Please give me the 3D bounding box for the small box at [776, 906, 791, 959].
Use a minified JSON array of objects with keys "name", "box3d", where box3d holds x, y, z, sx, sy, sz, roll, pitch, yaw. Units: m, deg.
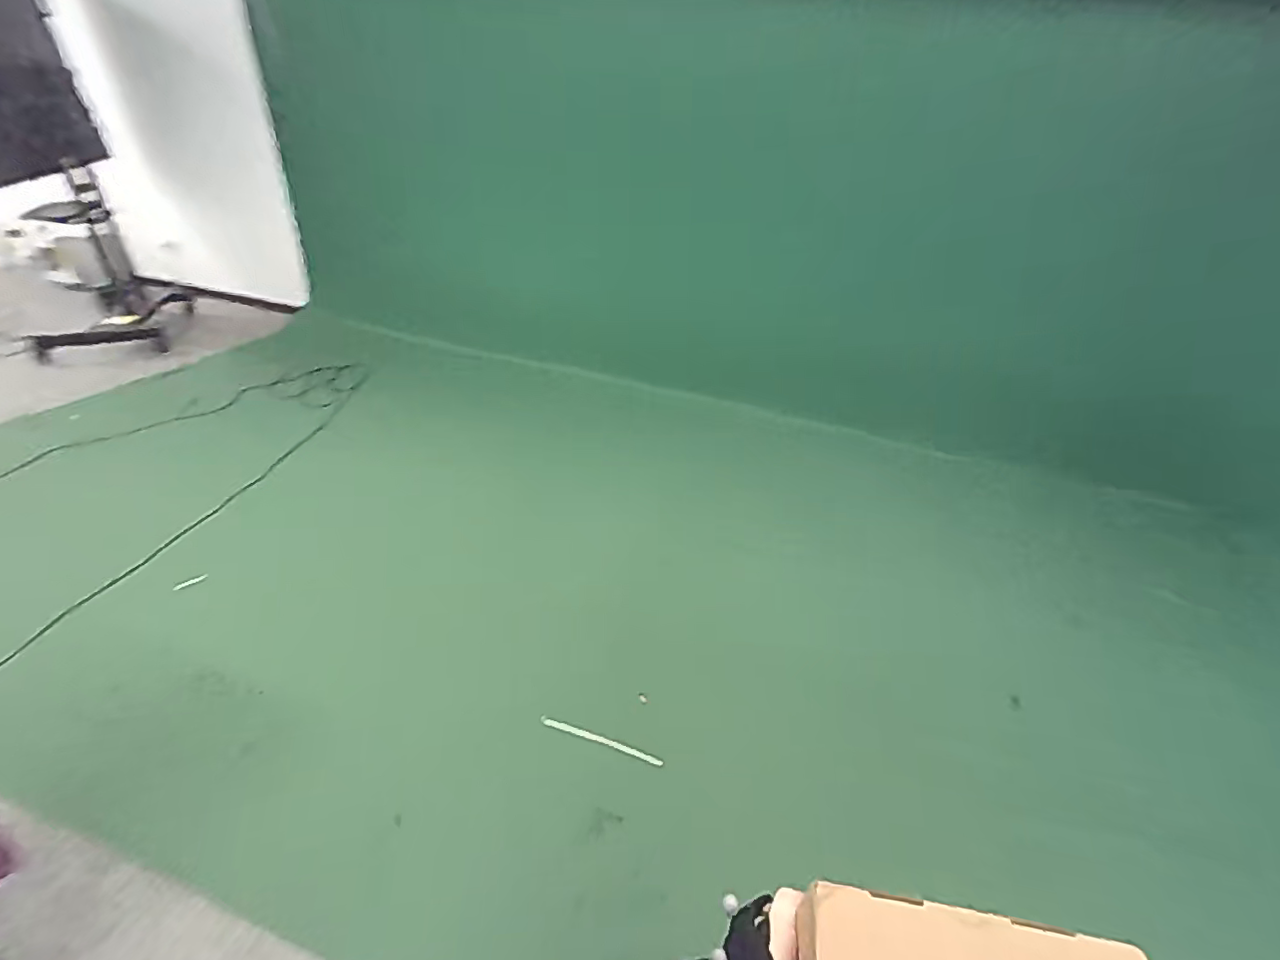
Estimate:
[{"name":"small box","box3d":[0.193,0.466,0.424,0.168,0.176,0.179,2,49,13]}]
